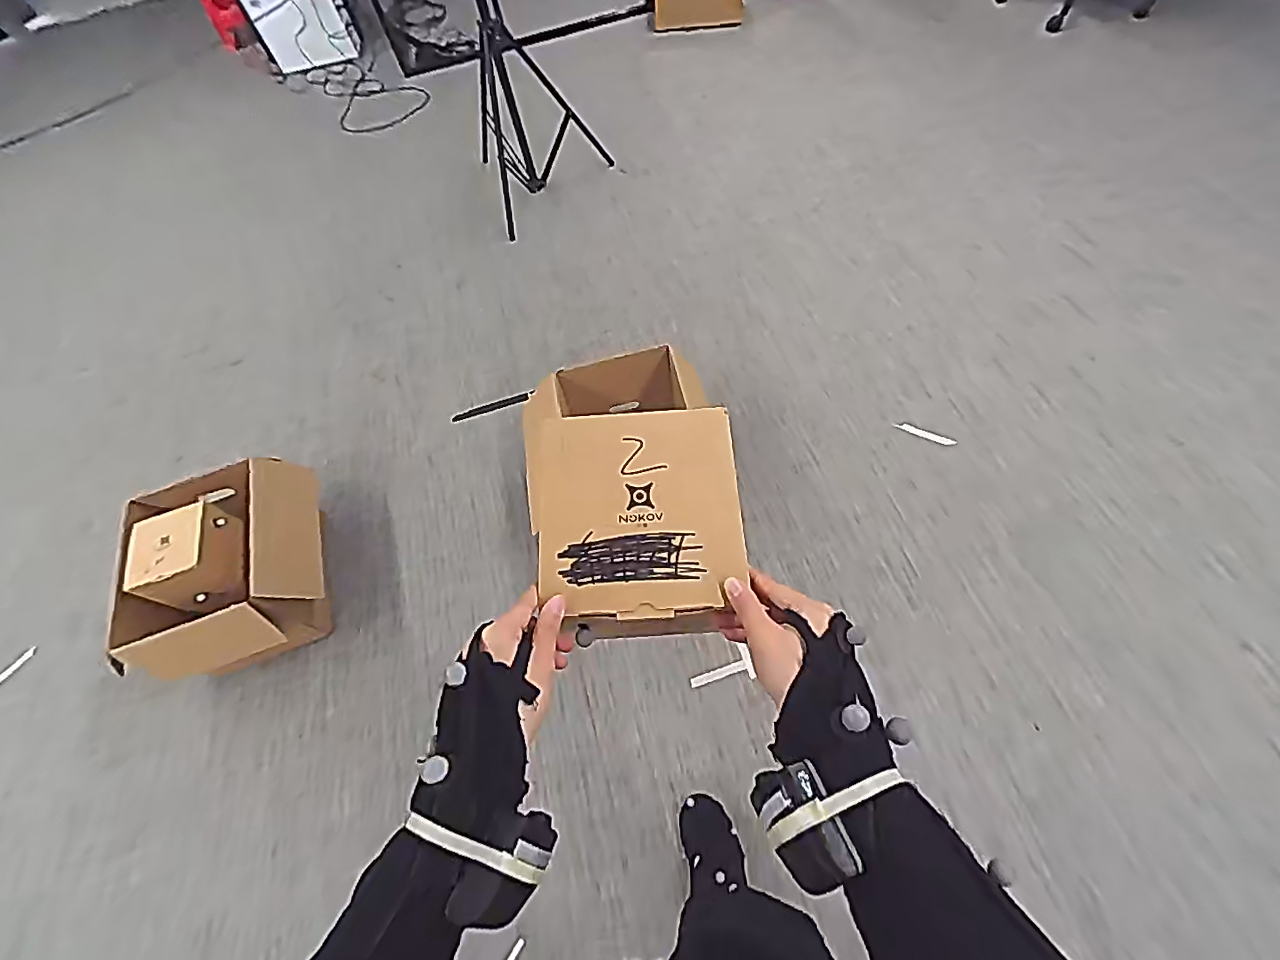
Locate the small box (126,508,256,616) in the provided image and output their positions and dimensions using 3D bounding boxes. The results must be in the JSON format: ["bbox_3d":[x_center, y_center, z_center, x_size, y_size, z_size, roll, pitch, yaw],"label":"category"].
[{"bbox_3d":[-1.053,0.199,1.285,0.168,0.176,0.179,-20,60,-3],"label":"small box"}]
